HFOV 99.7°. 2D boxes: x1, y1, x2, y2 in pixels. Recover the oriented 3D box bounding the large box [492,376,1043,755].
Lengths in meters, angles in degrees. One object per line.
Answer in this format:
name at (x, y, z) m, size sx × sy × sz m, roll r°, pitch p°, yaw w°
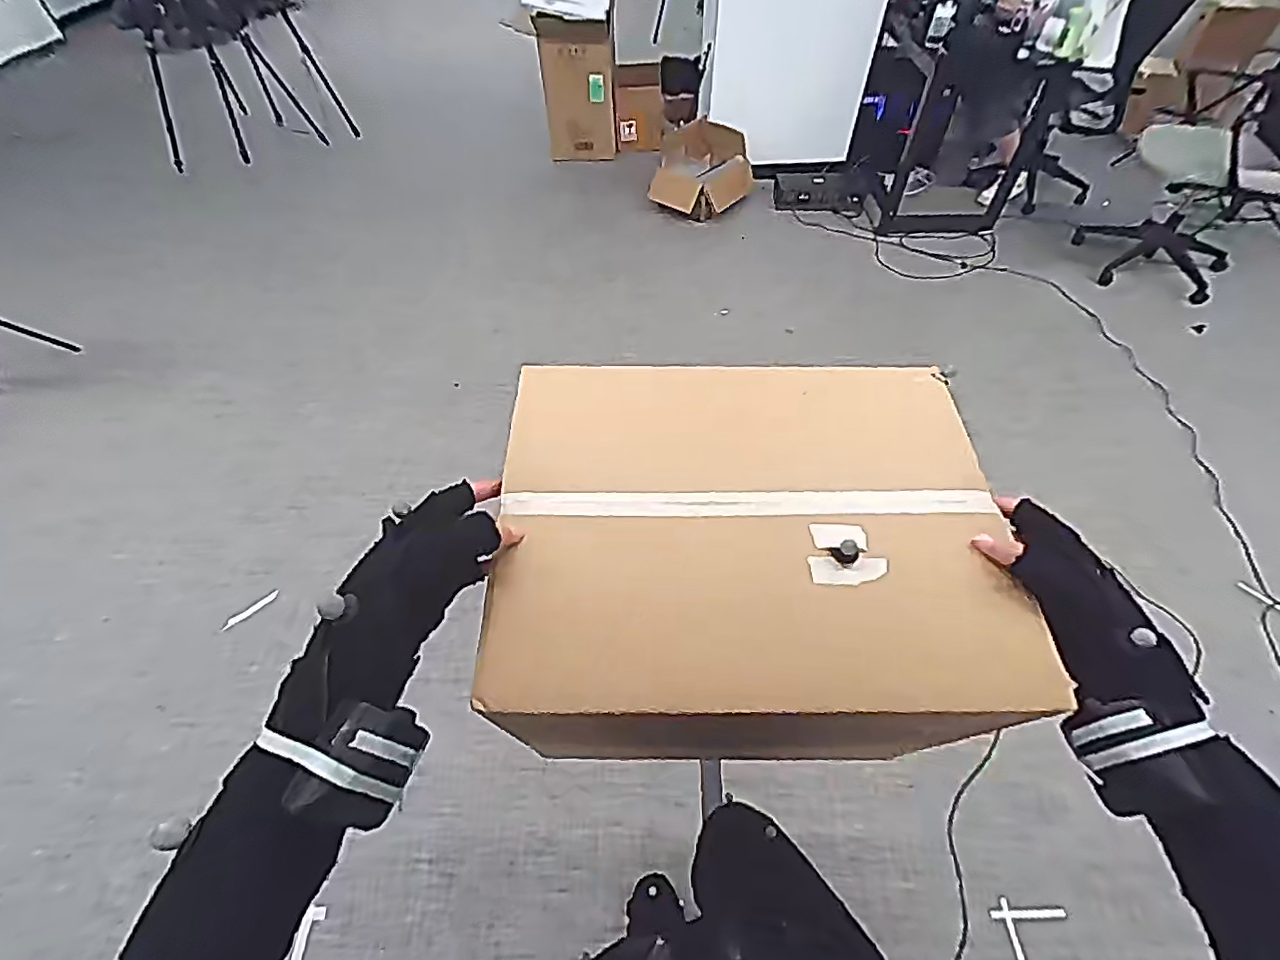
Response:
large box at (0.086, 0.105, 0.586) m, size 0.408 × 0.320 × 0.320 m, roll 0°, pitch 58°, yaw -1°
